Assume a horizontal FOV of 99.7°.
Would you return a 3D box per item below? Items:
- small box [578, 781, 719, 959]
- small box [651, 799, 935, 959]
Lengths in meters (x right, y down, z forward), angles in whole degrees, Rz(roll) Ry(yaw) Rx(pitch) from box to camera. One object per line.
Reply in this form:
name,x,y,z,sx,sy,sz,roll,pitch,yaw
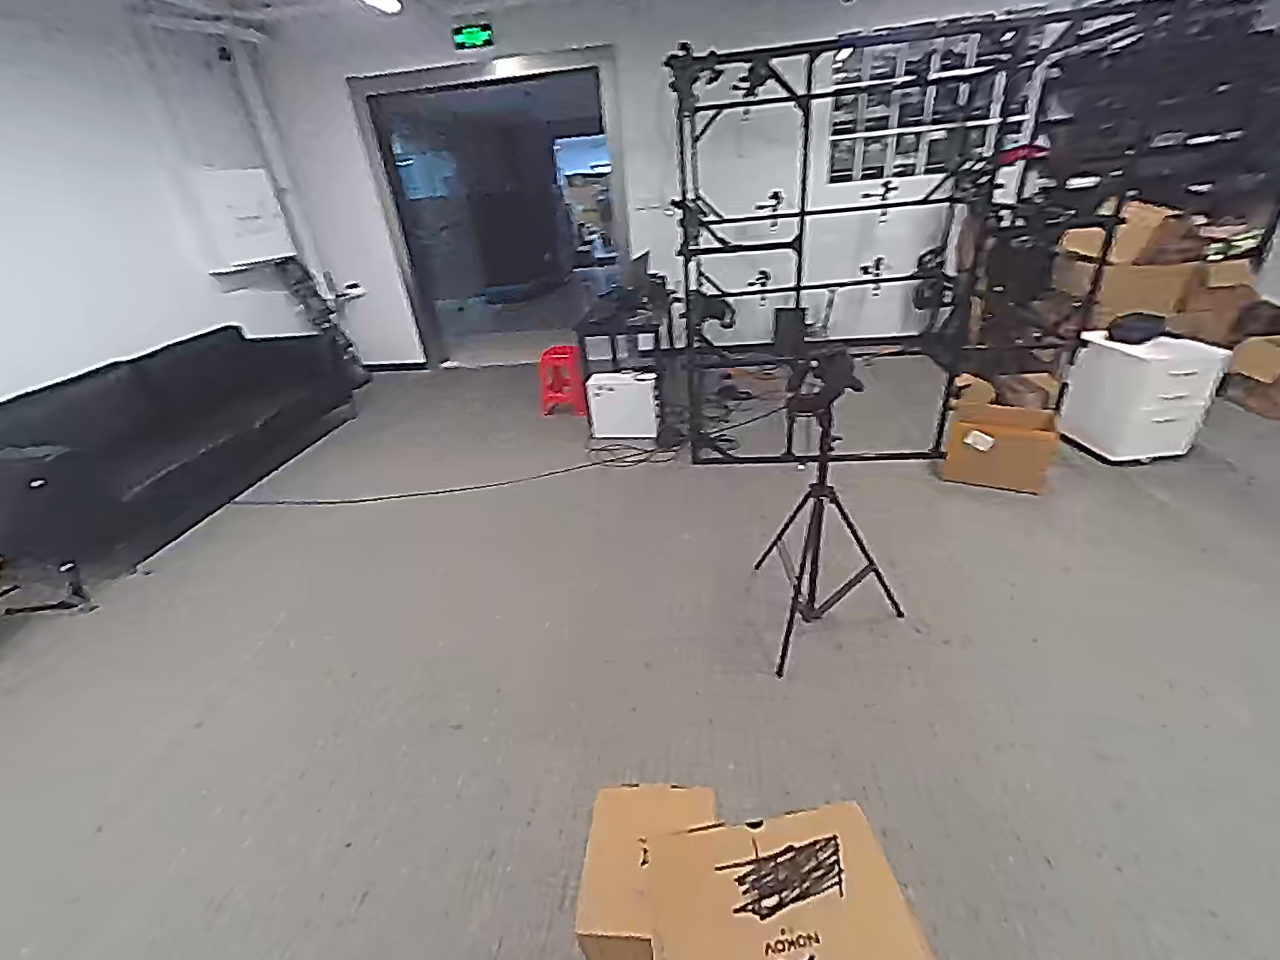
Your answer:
small box,0.025,0.536,0.723,0.168,0.176,0.179,-4,32,9
small box,0.099,0.363,0.373,0.168,0.176,0.179,-6,31,-7
